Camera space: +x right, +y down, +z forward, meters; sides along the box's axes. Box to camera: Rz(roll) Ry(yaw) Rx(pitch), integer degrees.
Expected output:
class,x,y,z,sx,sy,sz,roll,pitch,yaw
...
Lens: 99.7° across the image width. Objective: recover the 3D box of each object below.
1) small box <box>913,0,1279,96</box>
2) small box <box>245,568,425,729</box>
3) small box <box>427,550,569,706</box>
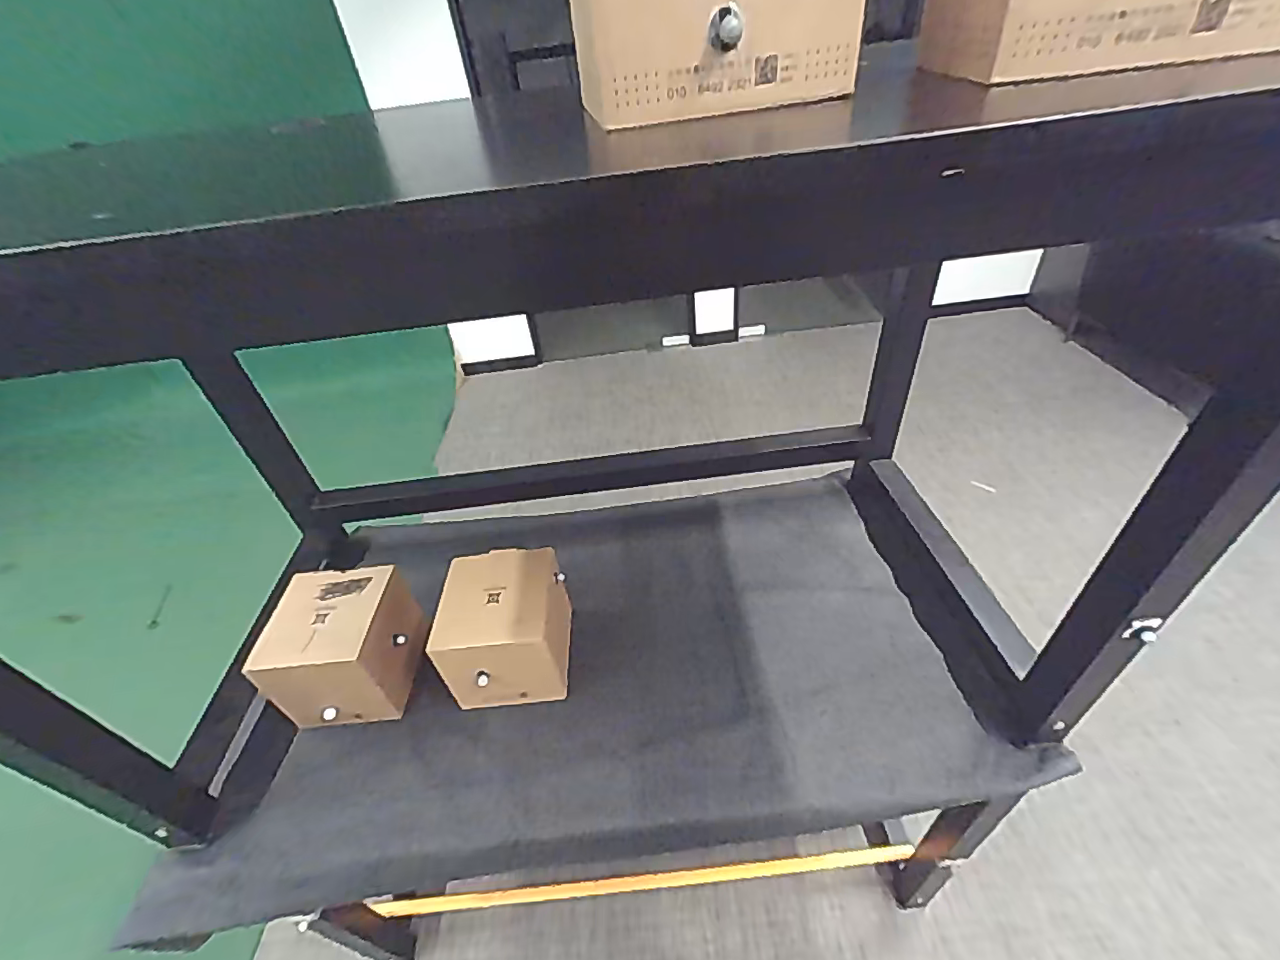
class,x,y,z,sx,sy,sz,roll,pitch,yaw
small box,0.286,-0.343,0.325,0.168,0.176,0.179,0,40,9
small box,-0.461,0.265,0.856,0.168,0.176,0.179,-6,40,1
small box,-0.209,0.238,0.855,0.168,0.176,0.179,-6,39,1
